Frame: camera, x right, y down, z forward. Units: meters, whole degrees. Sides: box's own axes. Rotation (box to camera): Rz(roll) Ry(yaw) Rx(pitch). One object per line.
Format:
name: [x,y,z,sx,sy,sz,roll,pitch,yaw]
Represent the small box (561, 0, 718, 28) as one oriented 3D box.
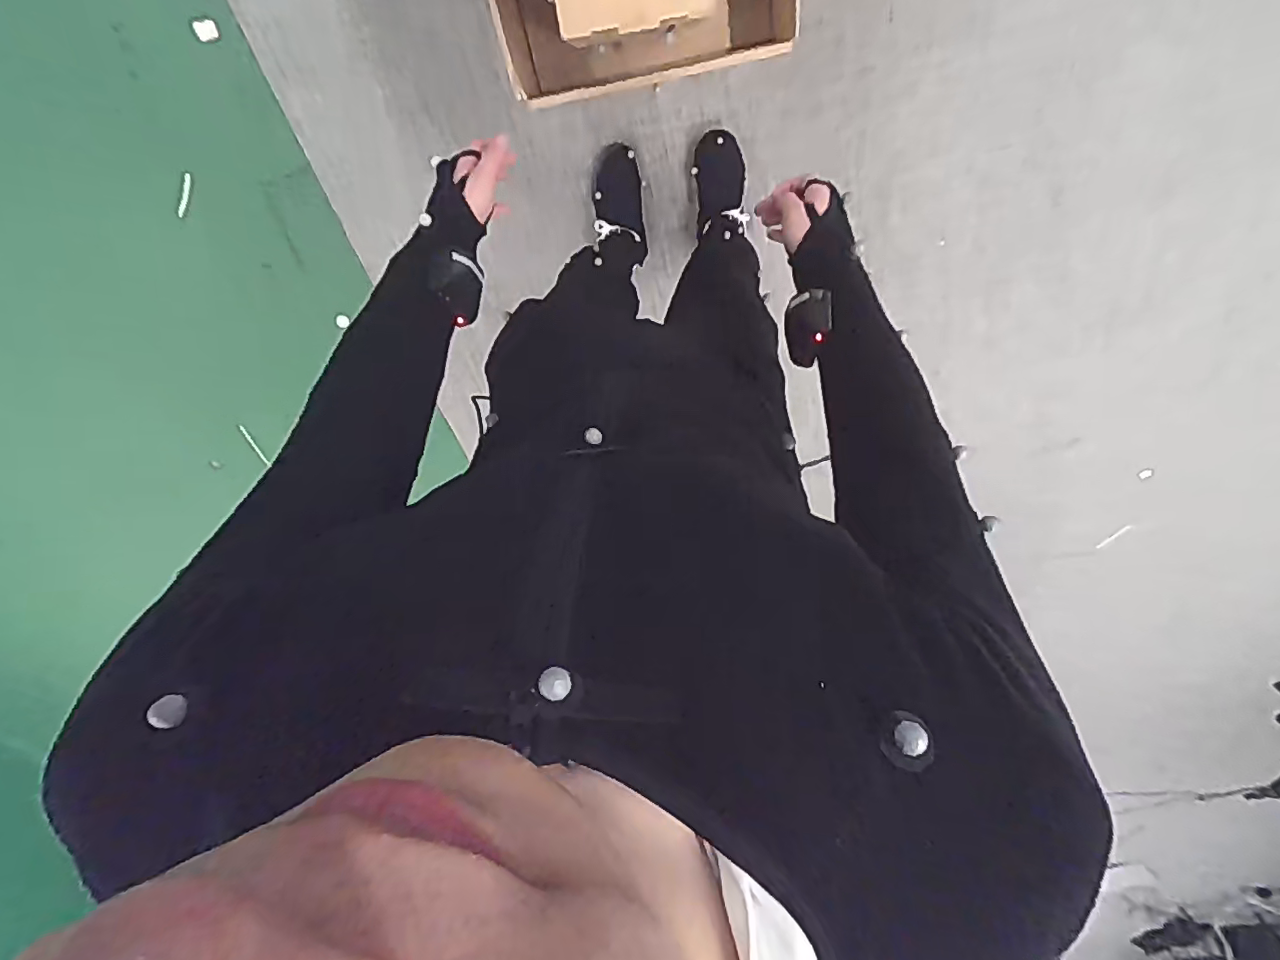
small box: [-0.007,-0.597,0.568,0.168,0.176,0.179,-6,127,4]
